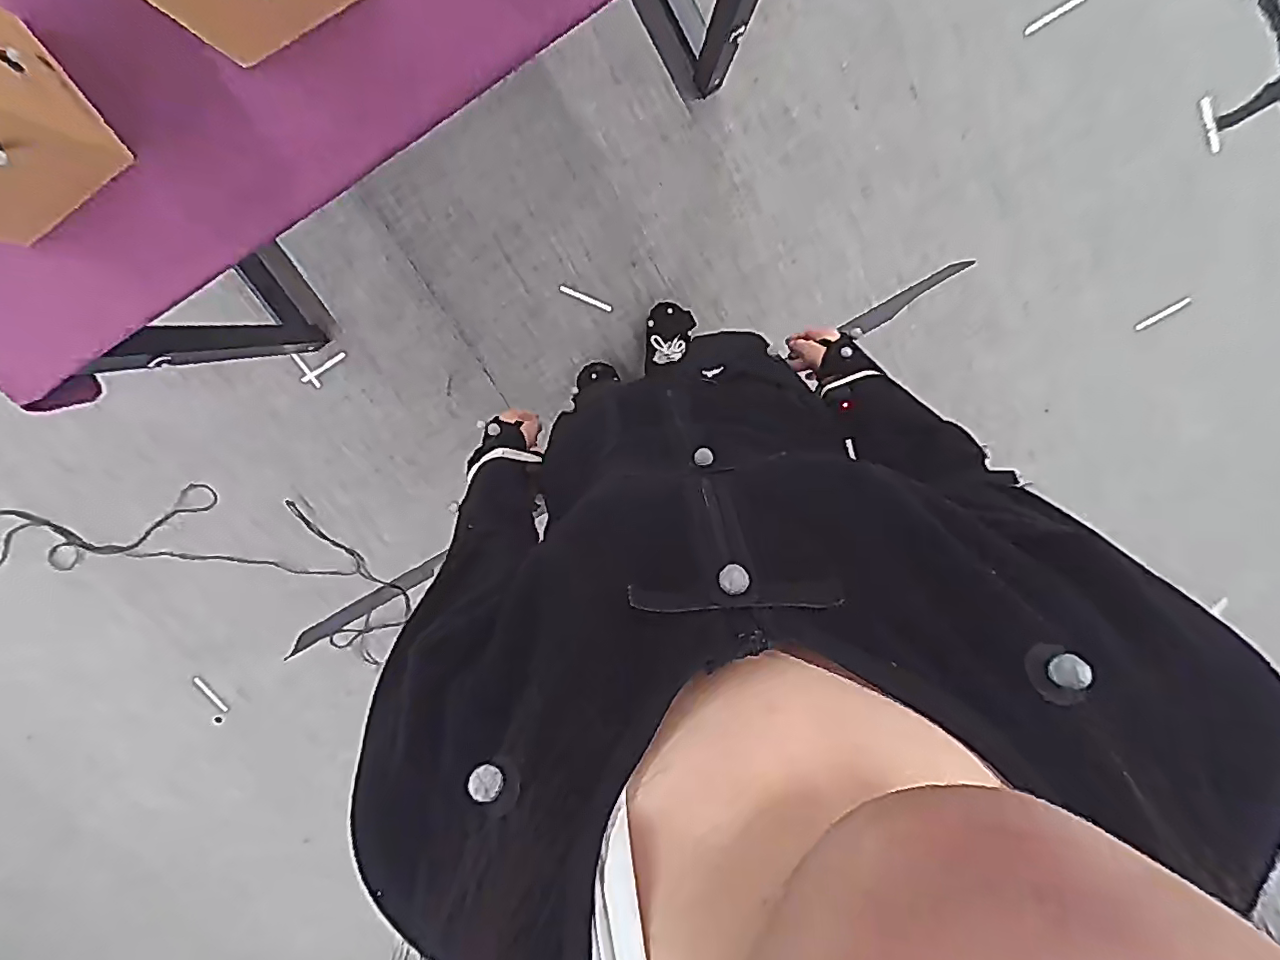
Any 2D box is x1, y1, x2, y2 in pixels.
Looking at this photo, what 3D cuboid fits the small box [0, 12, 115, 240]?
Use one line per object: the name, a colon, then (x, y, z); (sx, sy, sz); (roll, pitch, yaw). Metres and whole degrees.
small box: (-0.687, -0.365, 0.528); (0.179, 0.176, 0.168); (-33, 103, 6)
